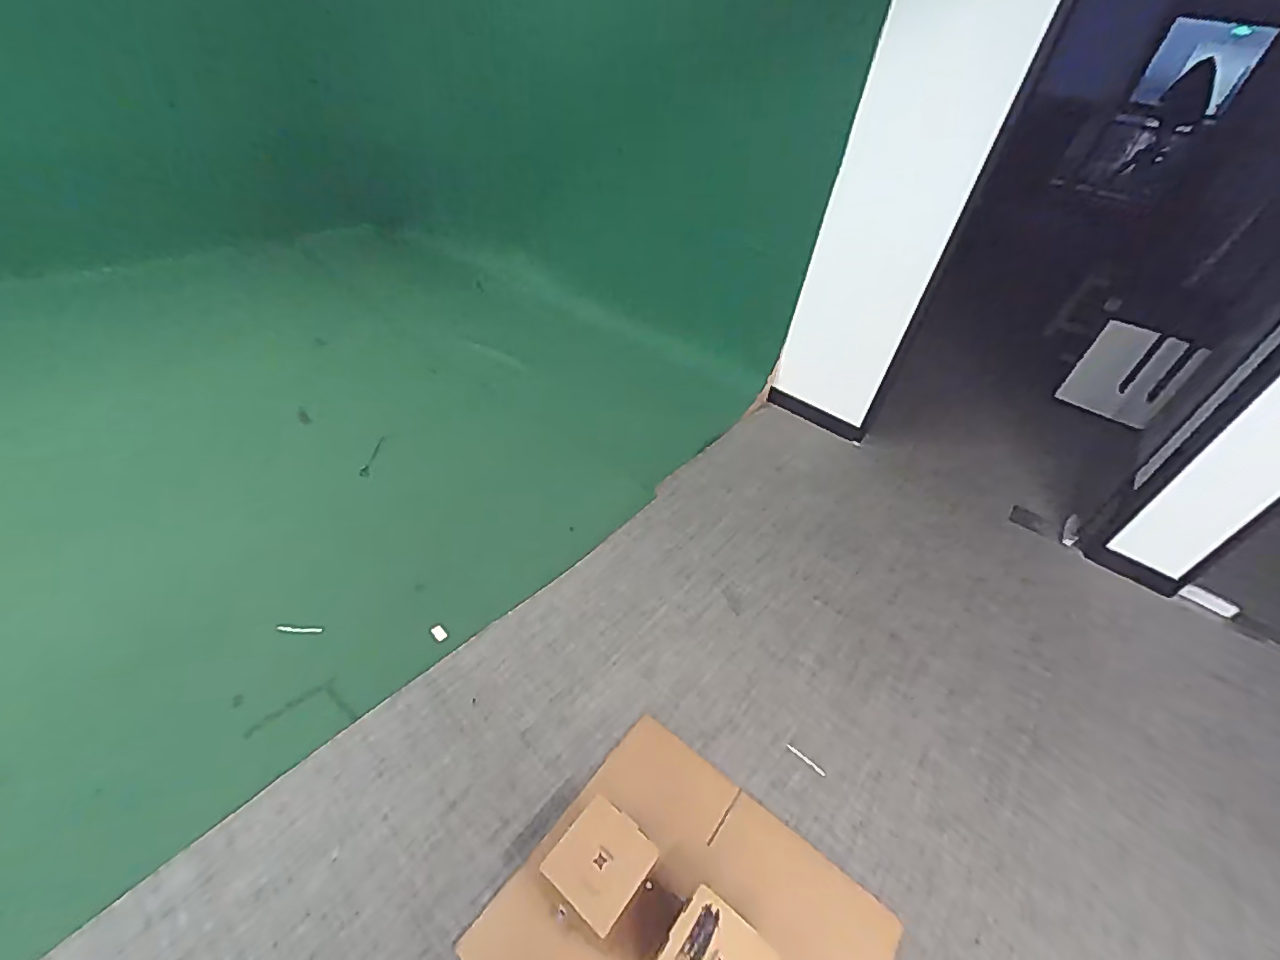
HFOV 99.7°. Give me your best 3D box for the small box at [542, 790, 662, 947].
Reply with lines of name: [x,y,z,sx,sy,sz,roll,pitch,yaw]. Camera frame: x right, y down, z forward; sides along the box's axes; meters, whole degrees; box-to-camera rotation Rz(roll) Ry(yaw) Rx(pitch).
small box: [-0.079,0.772,1.077,0.168,0.176,0.179,31,47,24]
